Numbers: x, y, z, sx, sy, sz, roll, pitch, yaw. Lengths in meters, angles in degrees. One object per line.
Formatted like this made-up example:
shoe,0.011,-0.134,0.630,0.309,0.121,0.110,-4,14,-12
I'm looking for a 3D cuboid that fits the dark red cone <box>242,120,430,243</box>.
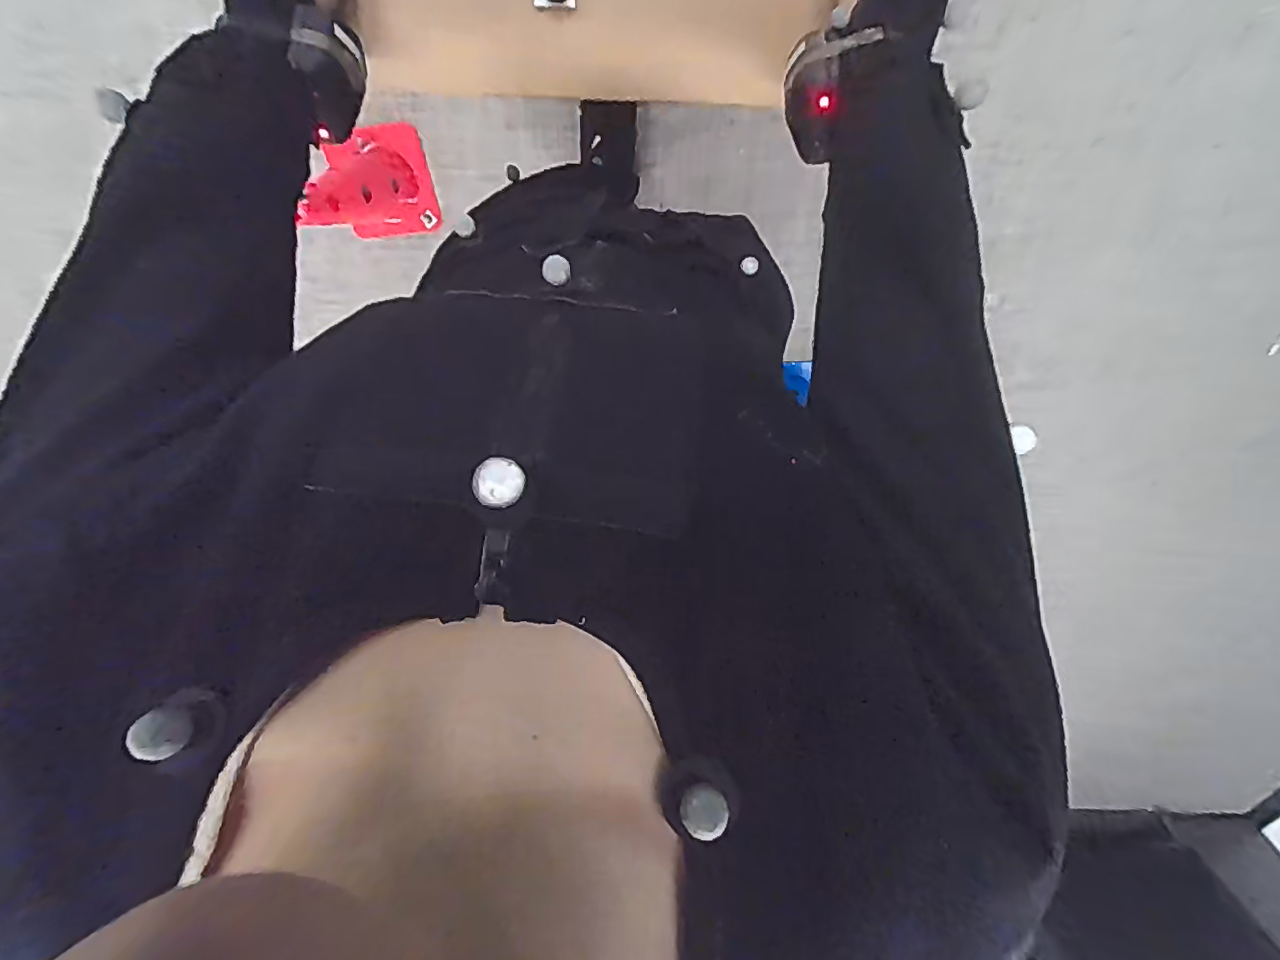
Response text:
dark red cone,-0.542,-0.504,0.941,0.202,0.394,0.201,-6,122,6
